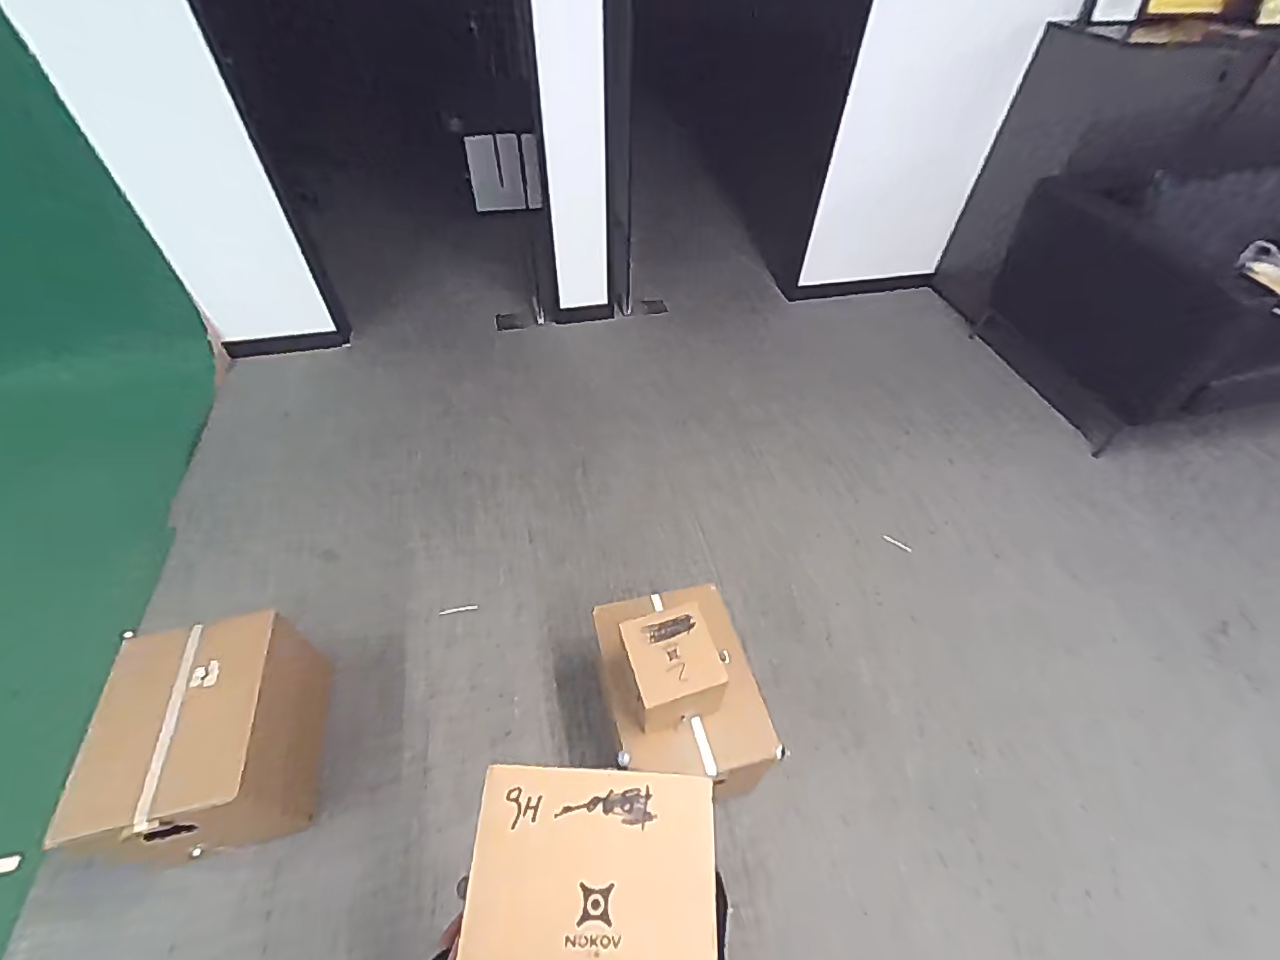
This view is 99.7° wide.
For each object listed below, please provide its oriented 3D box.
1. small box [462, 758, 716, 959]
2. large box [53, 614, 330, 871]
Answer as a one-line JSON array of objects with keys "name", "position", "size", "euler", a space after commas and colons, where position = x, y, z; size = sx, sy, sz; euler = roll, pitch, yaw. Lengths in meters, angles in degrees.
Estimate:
[{"name": "small box", "position": [-0.042, 0.324, 0.426], "size": [0.168, 0.176, 0.179], "euler": [7, 60, -7]}, {"name": "large box", "position": [-0.939, 0.580, 1.211], "size": [0.320, 0.320, 0.408], "euler": [-10, 49, -10]}]
